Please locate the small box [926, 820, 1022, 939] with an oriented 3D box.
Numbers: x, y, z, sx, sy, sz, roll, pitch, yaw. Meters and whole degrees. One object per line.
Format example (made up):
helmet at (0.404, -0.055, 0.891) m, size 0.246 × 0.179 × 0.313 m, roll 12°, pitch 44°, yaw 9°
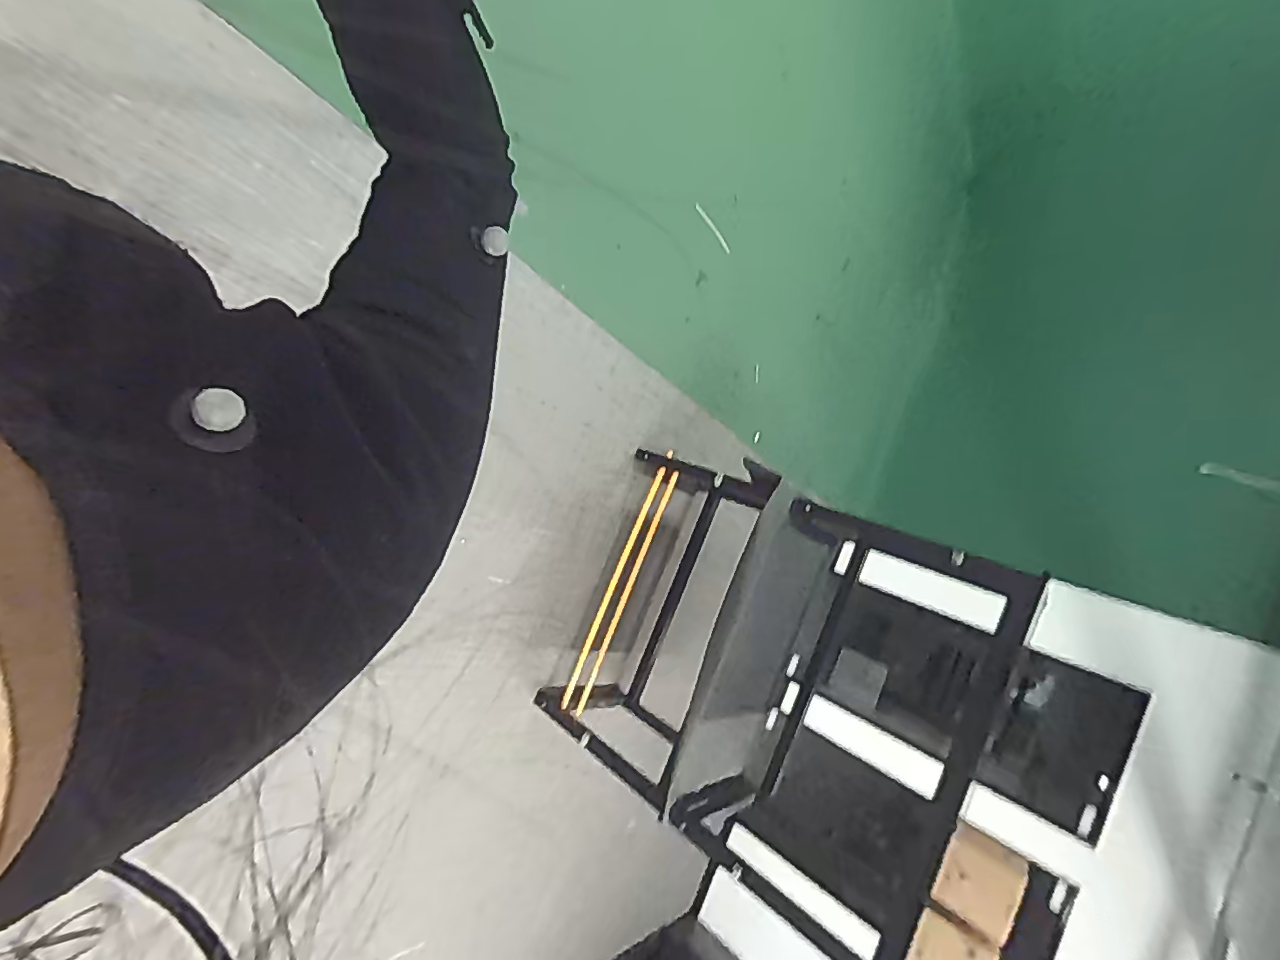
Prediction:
small box at (0.883, 1.041, 1.430) m, size 0.179 × 0.176 × 0.168 m, roll 24°, pitch 87°, yaw -51°
